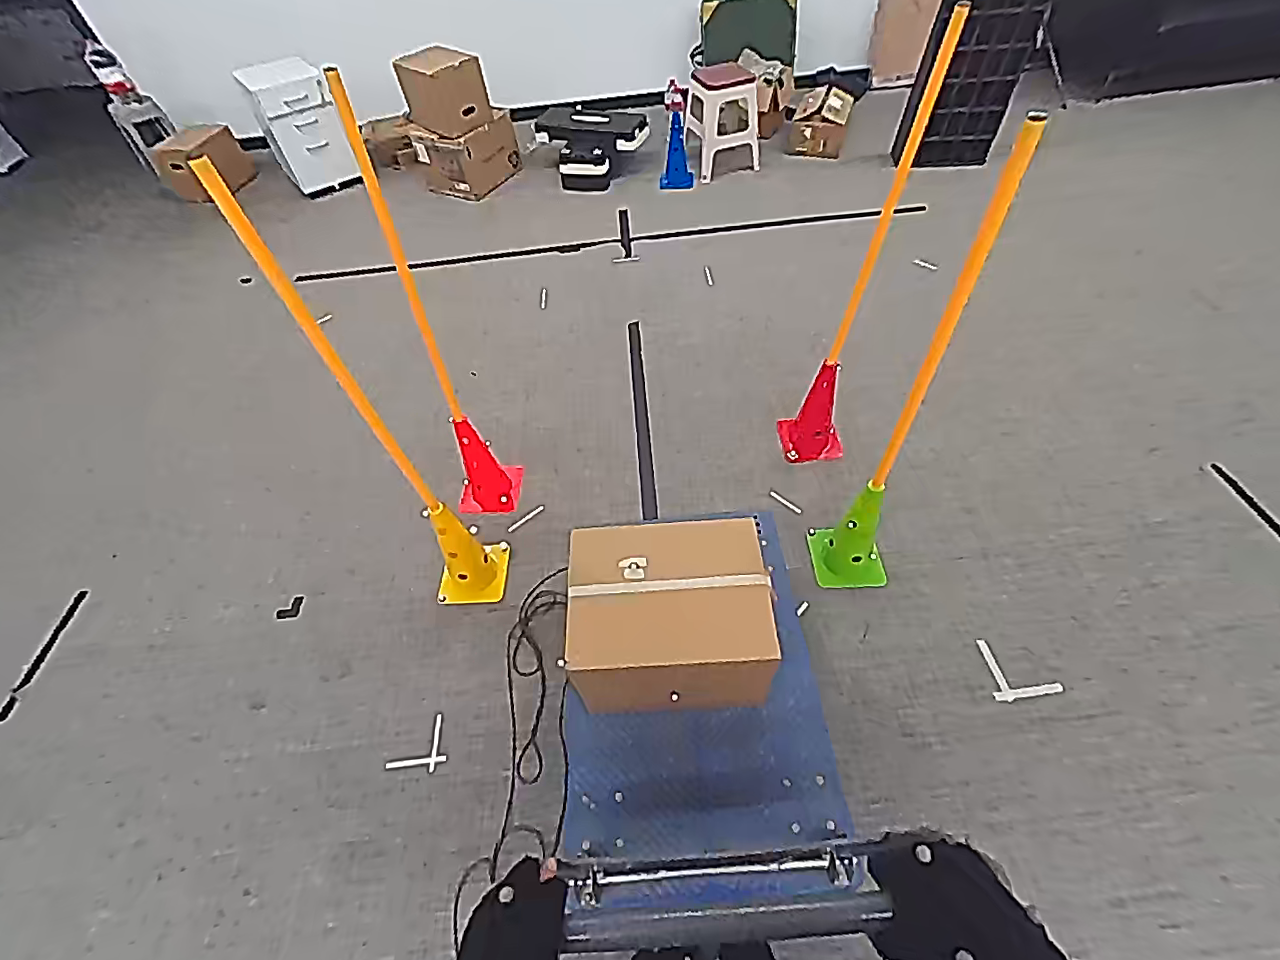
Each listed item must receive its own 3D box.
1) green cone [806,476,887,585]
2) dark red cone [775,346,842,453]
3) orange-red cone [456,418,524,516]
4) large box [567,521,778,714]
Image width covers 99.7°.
[{"bbox_3d":[0.607,0.120,1.498,0.202,0.368,0.200,-3,52,2],"label":"green cone"},{"bbox_3d":[0.588,-0.271,1.786,0.201,0.394,0.202,-5,52,-1],"label":"dark red cone"},{"bbox_3d":[-0.527,-0.066,1.760,0.198,0.360,0.199,0,51,5],"label":"orange-red cone"},{"bbox_3d":[0.067,0.318,1.214,0.408,0.320,0.320,-5,52,3],"label":"large box"}]
